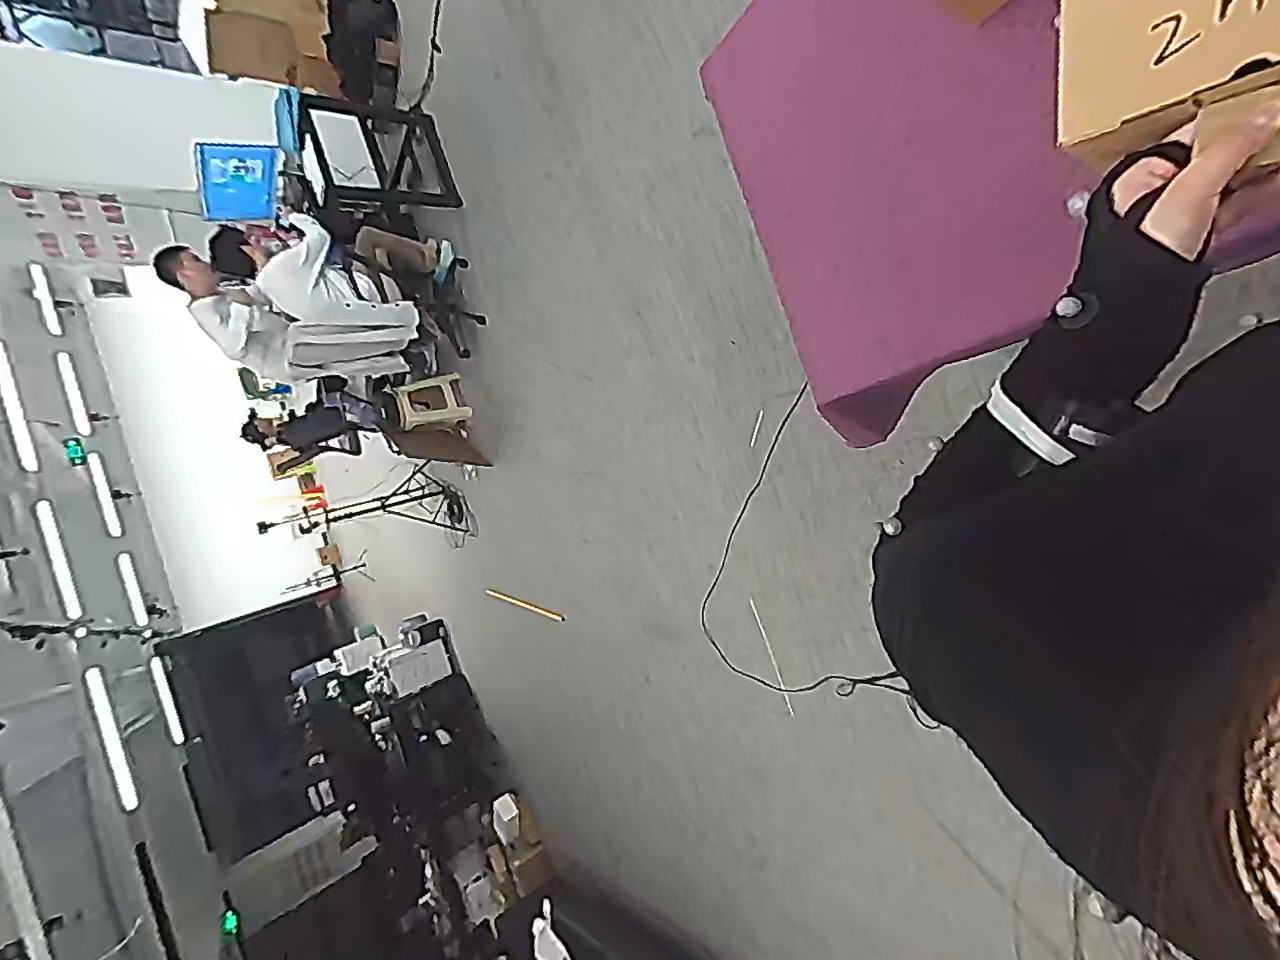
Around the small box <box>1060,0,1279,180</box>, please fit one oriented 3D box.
[{"bbox_3d":[0.373,-0.304,0.308,0.168,0.176,0.179,7,103,56],"label":"small box"}]

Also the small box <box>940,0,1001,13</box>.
[{"bbox_3d":[0.348,-0.601,0.516,0.168,0.176,0.179,-21,87,52],"label":"small box"}]
